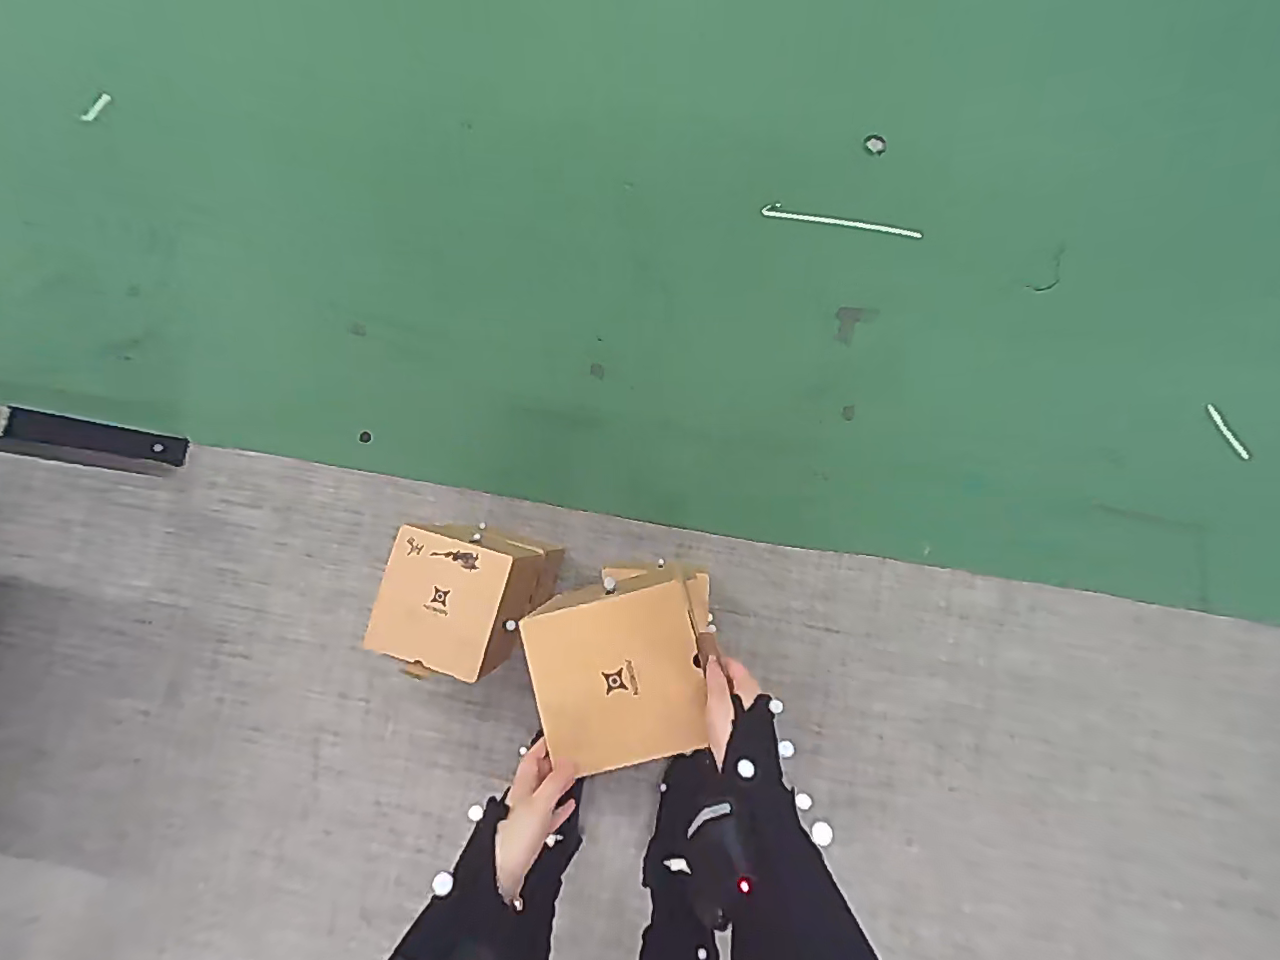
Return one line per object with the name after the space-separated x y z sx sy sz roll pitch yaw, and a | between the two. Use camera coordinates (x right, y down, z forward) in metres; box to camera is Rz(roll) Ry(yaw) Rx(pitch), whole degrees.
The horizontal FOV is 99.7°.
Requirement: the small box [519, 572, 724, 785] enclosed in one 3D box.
-0.015 0.207 0.611 0.179 0.176 0.168 -15 85 1 | small box

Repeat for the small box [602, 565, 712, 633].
0.028 0.236 0.932 0.179 0.176 0.168 2 85 2 | small box

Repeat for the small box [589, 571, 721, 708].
0.010 0.229 0.771 0.179 0.176 0.168 -11 85 1 | small box
